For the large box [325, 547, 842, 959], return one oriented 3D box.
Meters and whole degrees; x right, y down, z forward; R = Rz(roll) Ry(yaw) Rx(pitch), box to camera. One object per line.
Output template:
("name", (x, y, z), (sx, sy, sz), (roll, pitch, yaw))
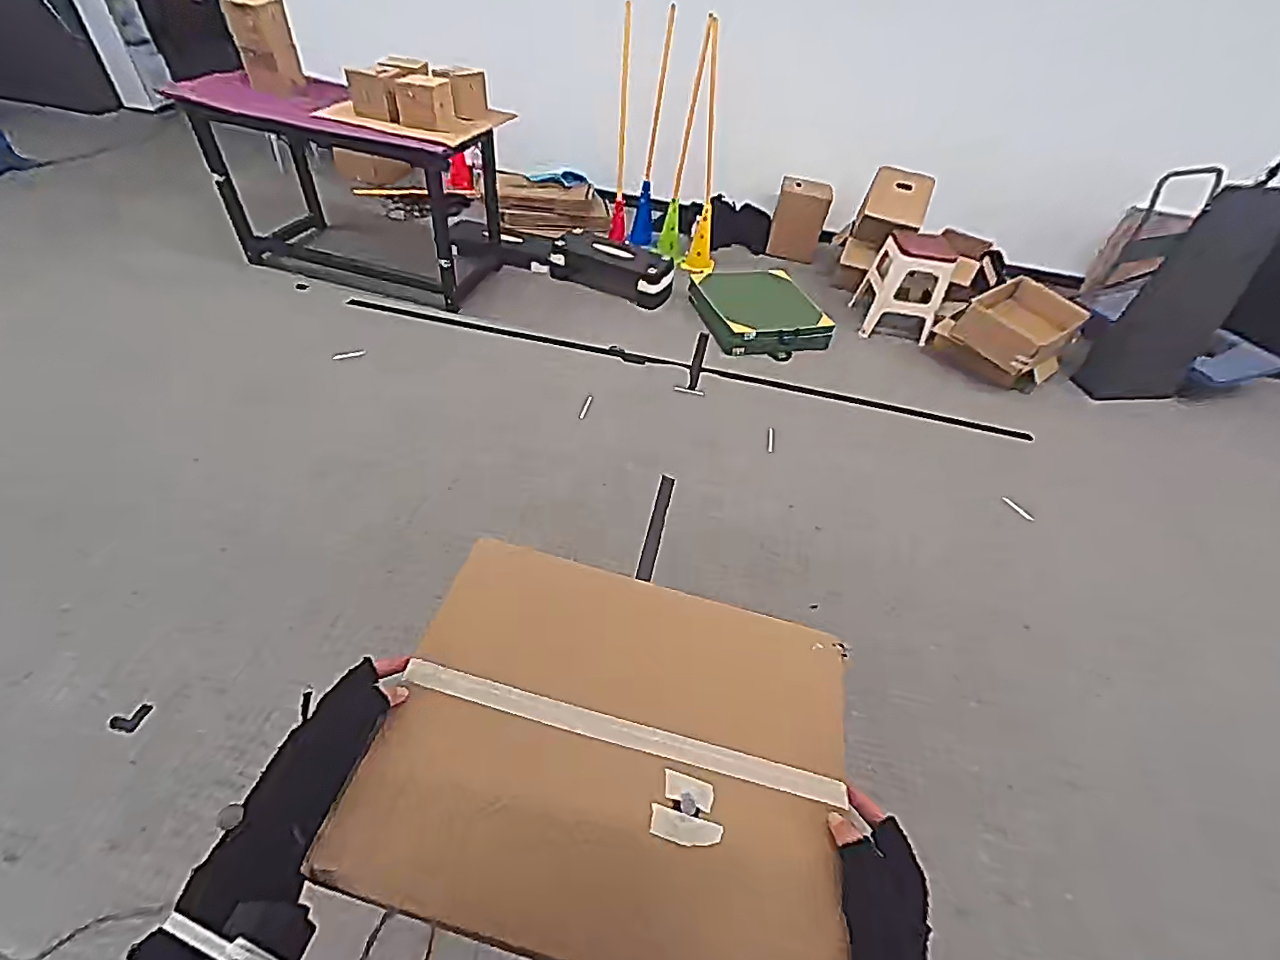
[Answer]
("large box", (-0.037, 0.328, 0.602), (0.408, 0.320, 0.320), (16, 49, 3))
